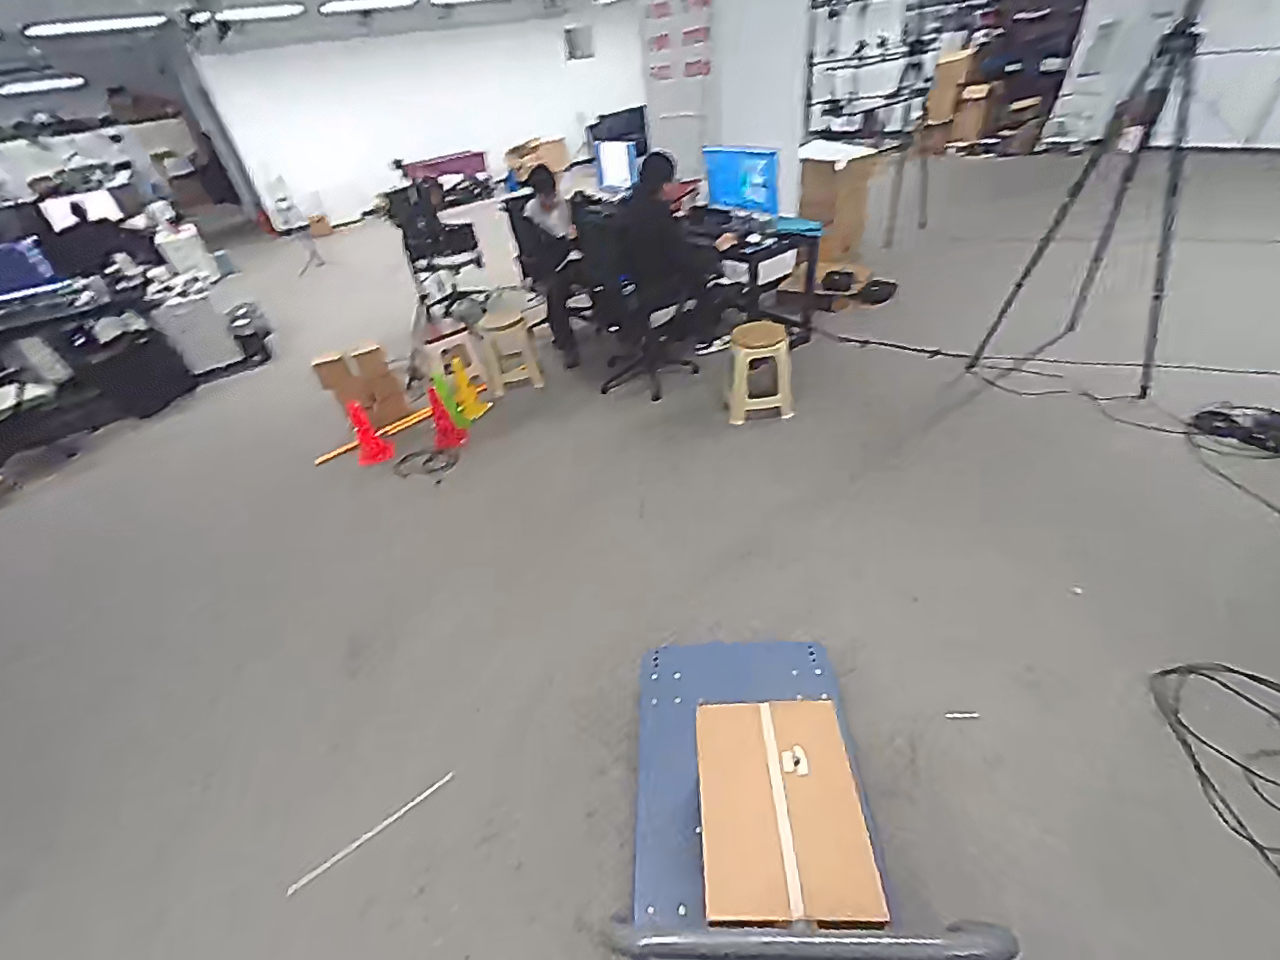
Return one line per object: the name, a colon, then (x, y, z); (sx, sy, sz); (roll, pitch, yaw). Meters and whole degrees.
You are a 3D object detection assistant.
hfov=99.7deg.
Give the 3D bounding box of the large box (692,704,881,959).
large box: (0.291, 0.768, 1.188); (0.320, 0.320, 0.408); (-4, 36, 5)
